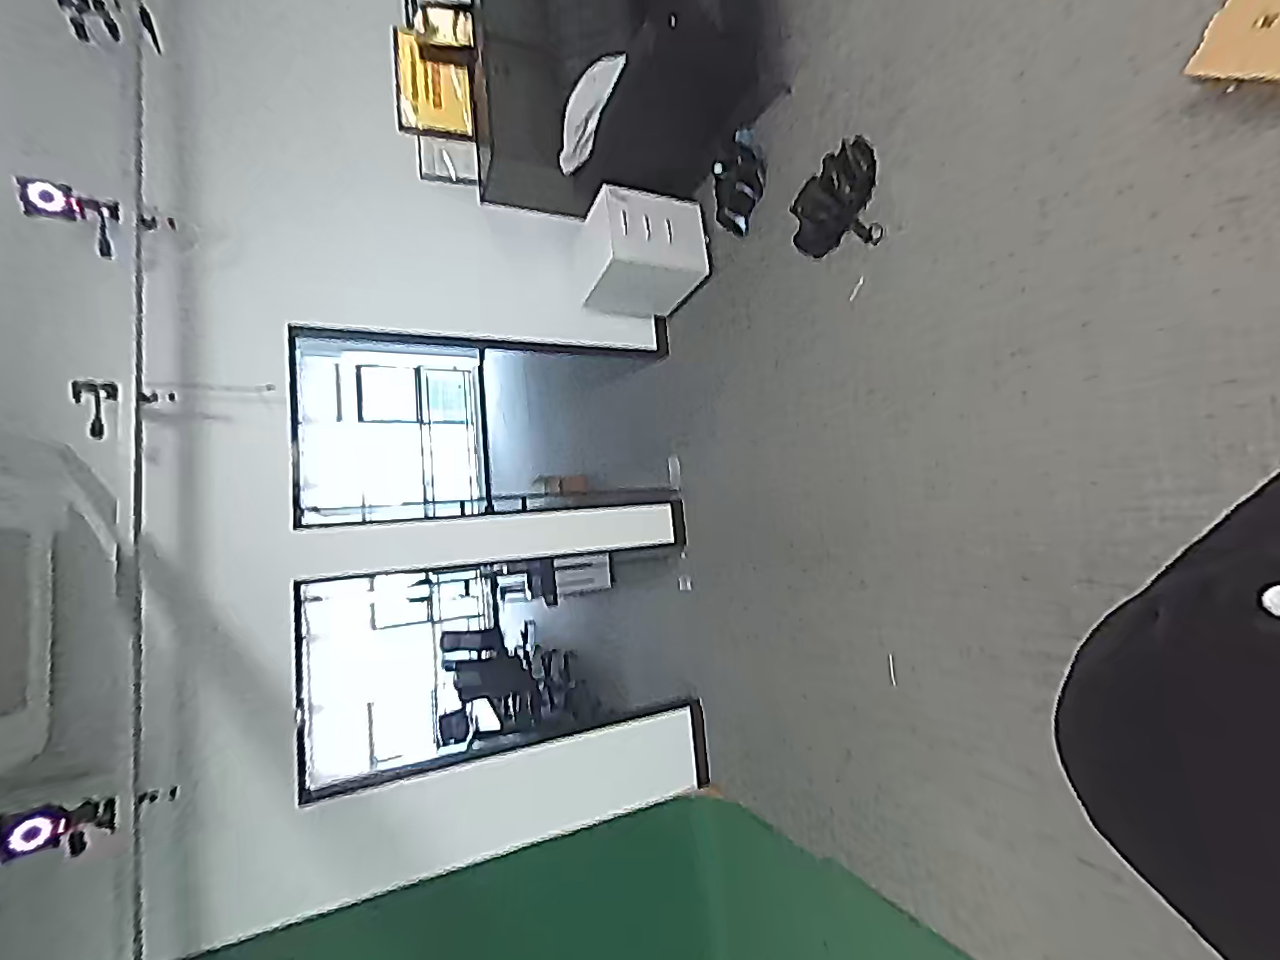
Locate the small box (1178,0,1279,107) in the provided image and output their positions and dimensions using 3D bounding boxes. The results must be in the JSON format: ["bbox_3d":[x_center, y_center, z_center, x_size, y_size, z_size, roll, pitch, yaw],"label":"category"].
[{"bbox_3d":[1.205,-0.820,1.019,0.179,0.176,0.168,-124,38,-47],"label":"small box"}]
